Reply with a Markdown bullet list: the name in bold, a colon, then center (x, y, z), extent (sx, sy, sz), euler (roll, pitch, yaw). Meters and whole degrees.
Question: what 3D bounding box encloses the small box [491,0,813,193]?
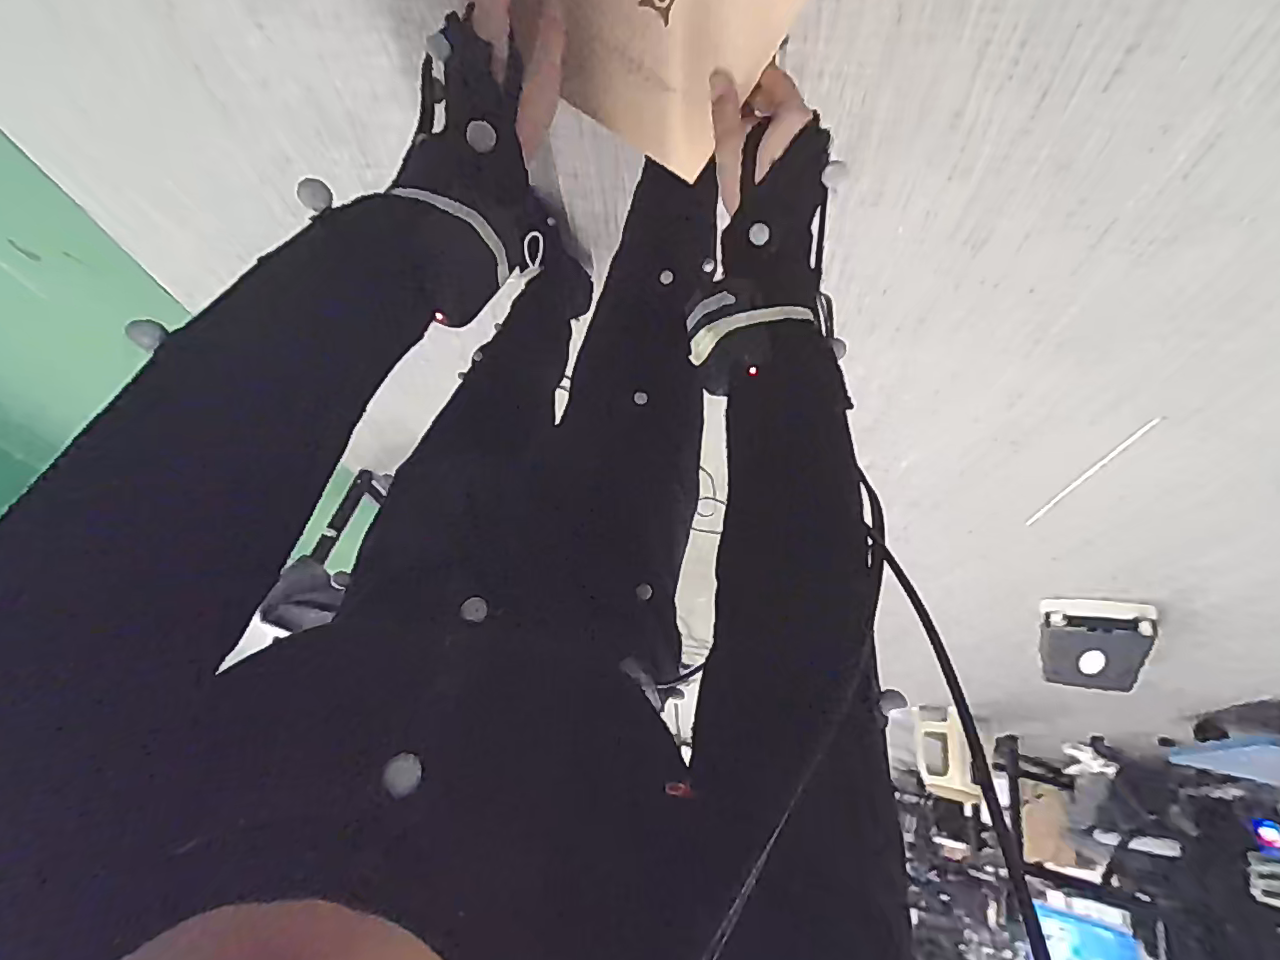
- **small box**: center (0.010, -0.358, 0.385), extent (0.168, 0.176, 0.179), euler (20, 136, -24)
